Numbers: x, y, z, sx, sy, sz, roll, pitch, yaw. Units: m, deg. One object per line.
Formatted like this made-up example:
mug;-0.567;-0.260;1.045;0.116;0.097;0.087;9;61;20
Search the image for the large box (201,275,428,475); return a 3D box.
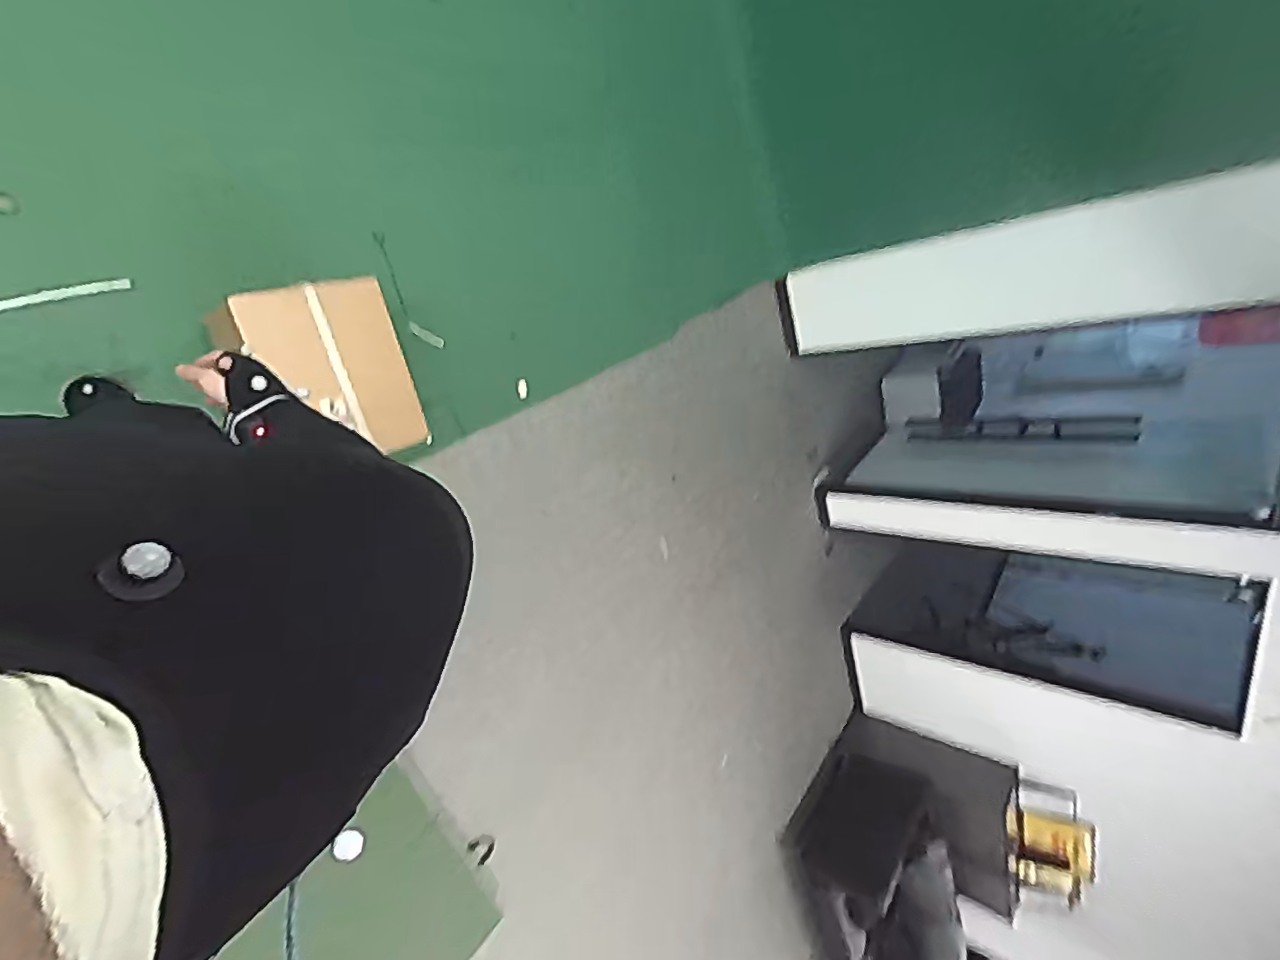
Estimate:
large box;-0.807;-0.261;1.355;0.320;0.320;0.408;-30;115;-40
